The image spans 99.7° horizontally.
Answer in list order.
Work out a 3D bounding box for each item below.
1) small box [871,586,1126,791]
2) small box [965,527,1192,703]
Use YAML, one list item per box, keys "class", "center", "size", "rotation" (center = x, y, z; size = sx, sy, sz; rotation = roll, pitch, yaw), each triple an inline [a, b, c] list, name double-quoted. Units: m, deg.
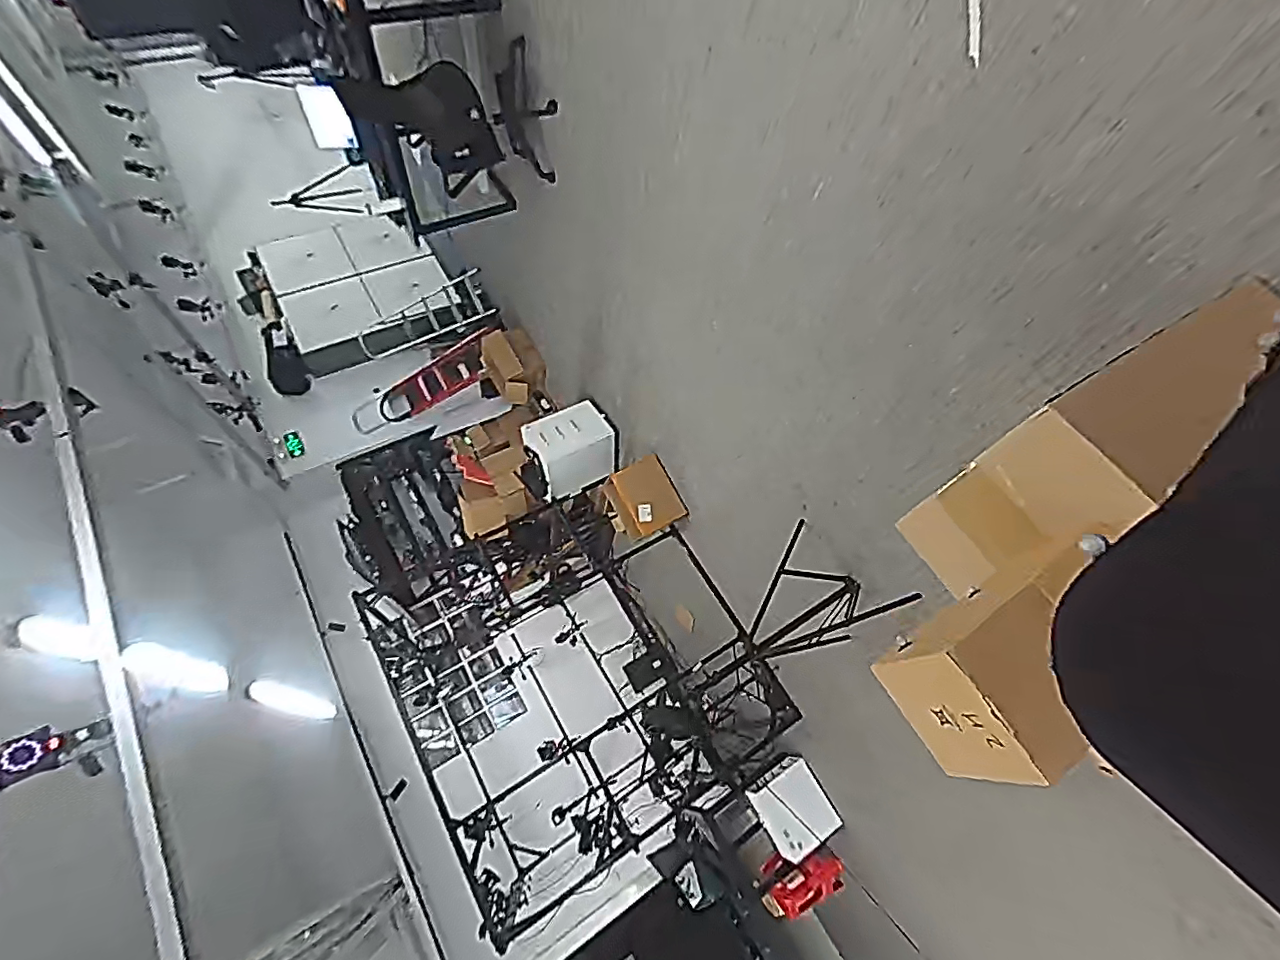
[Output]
- class: "small box"
  center: [0.447, 0.260, 0.691]
  size: [0.168, 0.176, 0.179]
  rotation: [56, 159, 16]
- class: "small box"
  center: [0.587, 0.189, 0.742]
  size: [0.168, 0.176, 0.179]
  rotation: [56, 159, 19]
